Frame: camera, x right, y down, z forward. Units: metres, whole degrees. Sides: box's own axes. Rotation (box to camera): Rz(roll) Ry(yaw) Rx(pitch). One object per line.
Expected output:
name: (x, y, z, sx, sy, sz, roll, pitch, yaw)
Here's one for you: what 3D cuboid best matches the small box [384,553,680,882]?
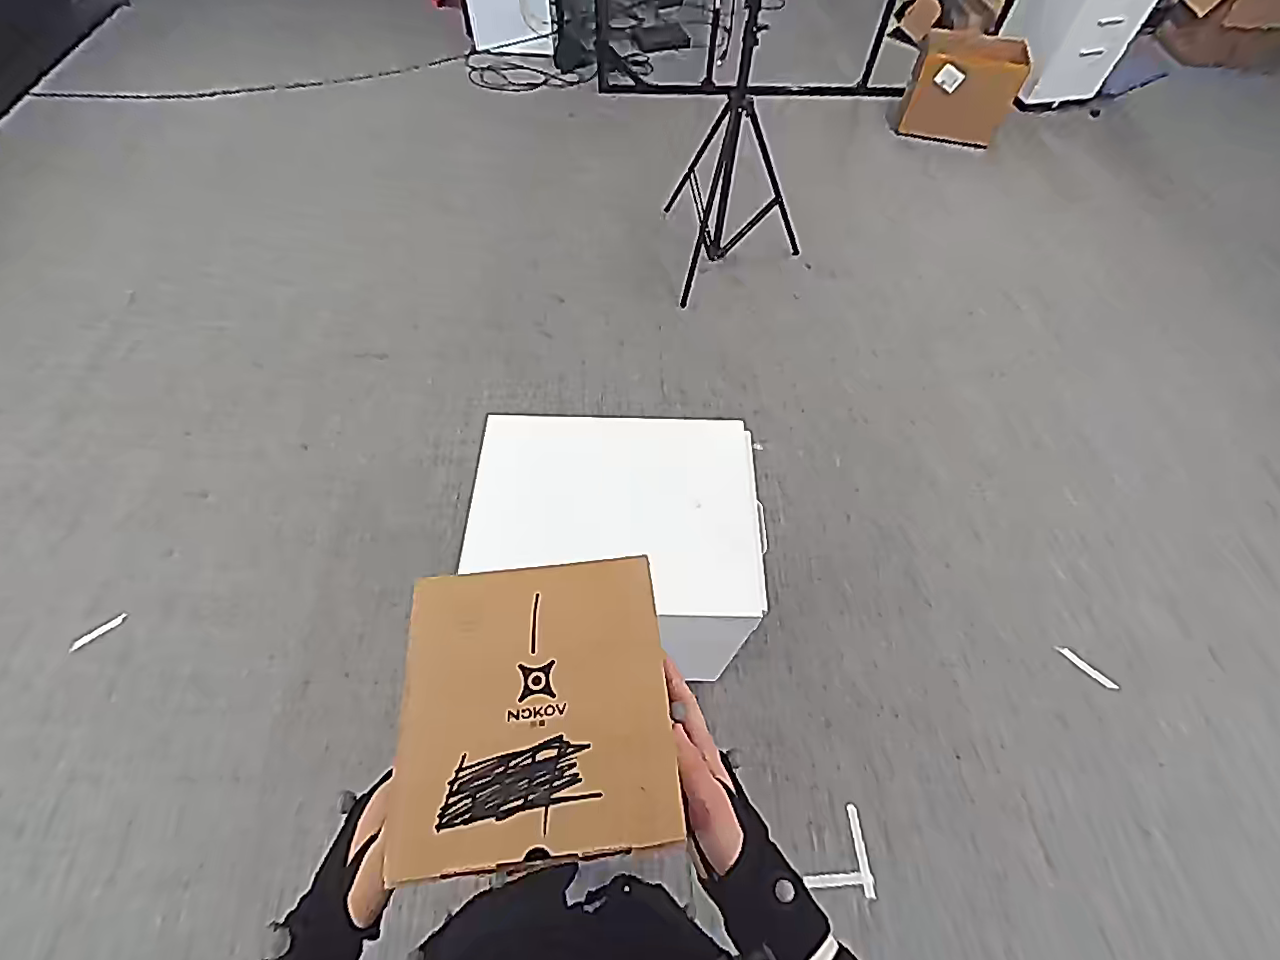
small box: (-0.066, 0.174, 0.403, 0.168, 0.176, 0.179, -6, 57, -4)
